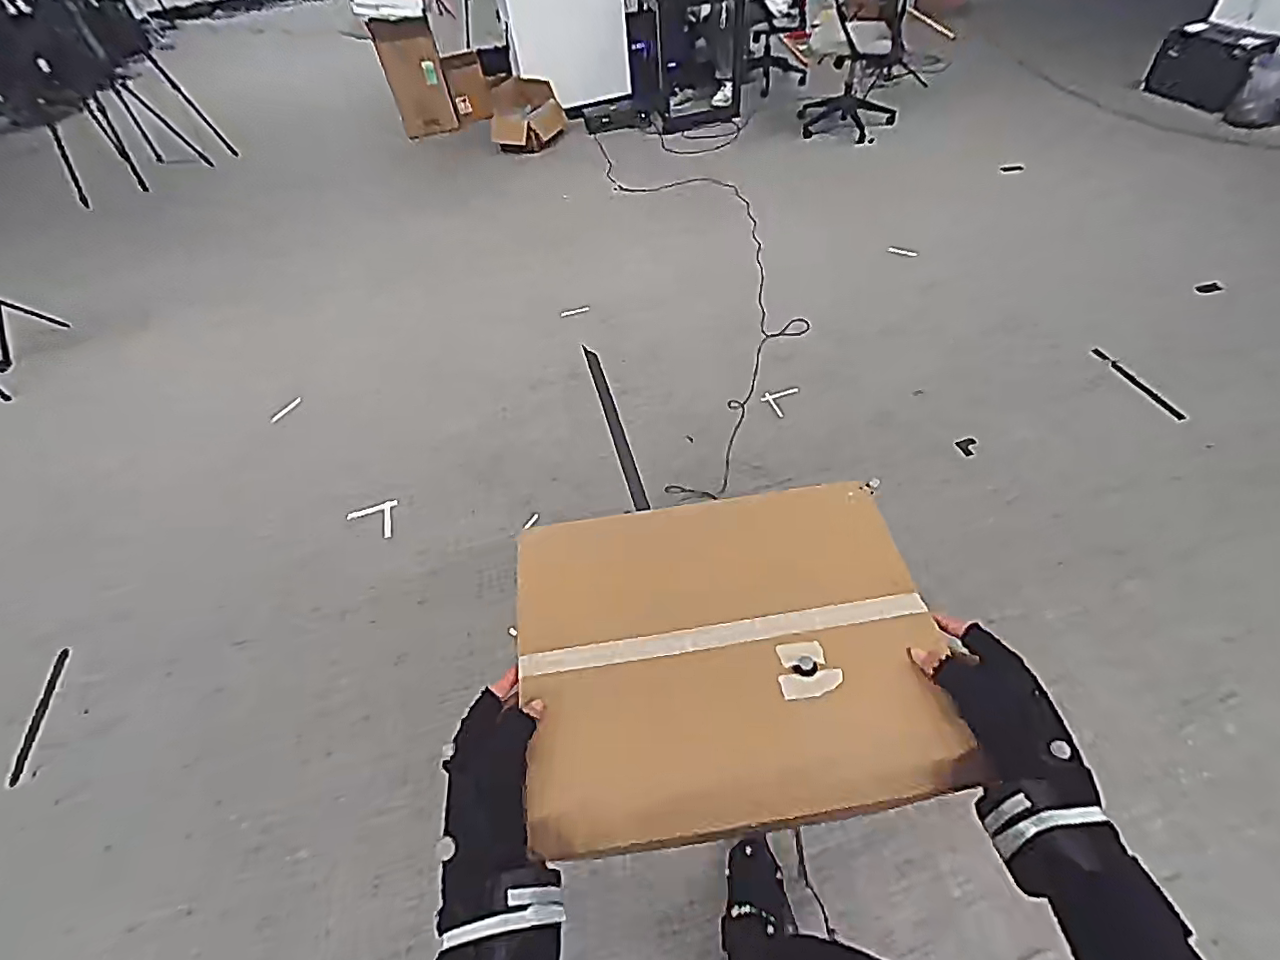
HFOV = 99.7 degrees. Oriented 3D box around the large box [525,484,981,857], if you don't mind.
[{"bbox_3d":[0.090,0.243,0.669,0.408,0.320,0.320,-8,55,-2],"label":"large box"}]
